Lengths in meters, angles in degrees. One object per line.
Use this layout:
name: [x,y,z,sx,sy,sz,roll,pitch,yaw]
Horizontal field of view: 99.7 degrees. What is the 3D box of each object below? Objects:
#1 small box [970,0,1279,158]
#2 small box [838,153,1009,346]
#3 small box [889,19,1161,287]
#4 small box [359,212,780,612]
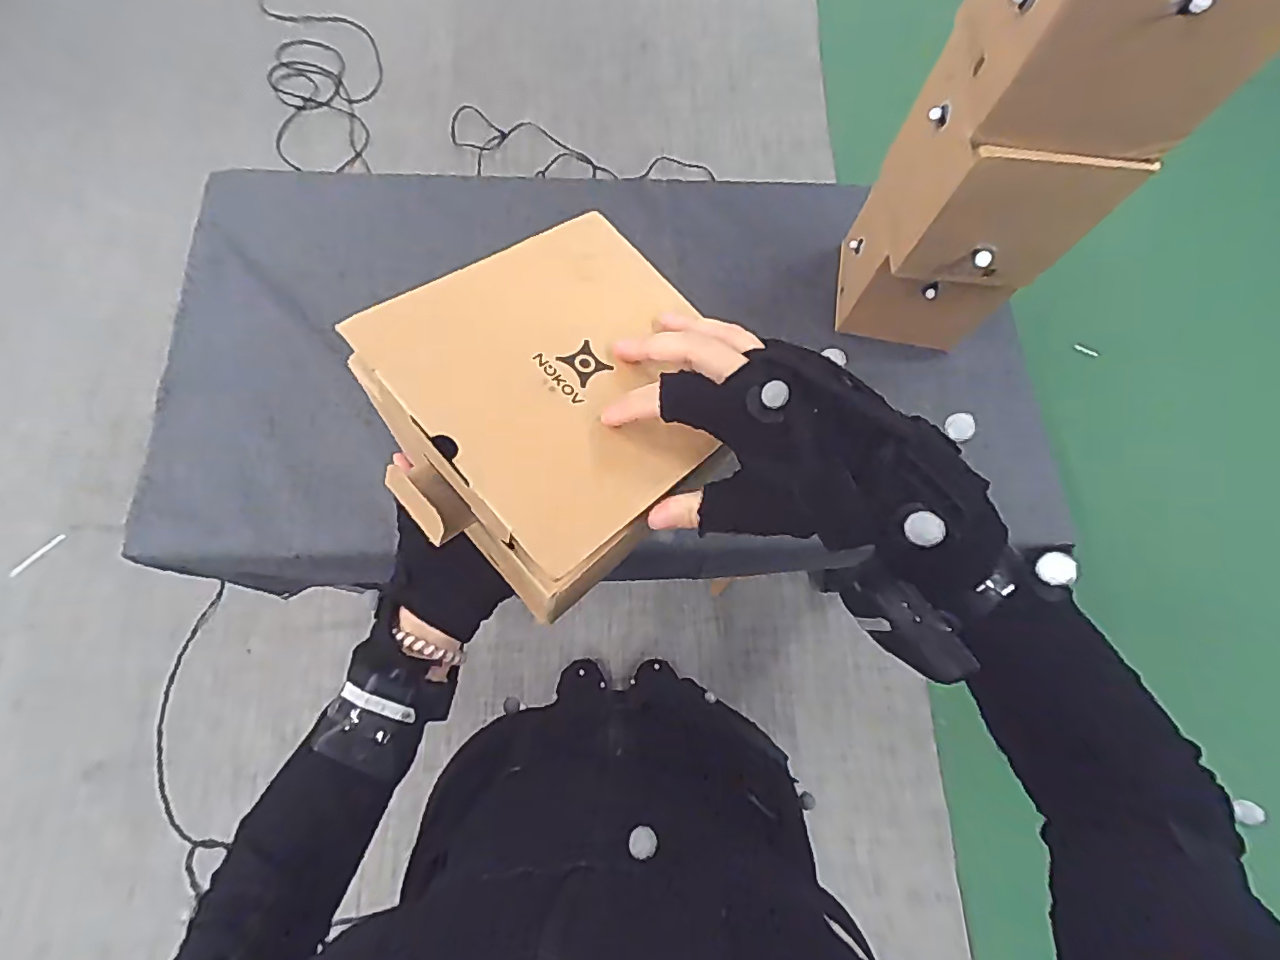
small box: [0.389,-0.390,0.427,0.179,0.176,0.168,7,73,0]
small box: [0.390,-0.306,0.743,0.179,0.176,0.168,11,73,1]
small box: [0.387,-0.339,0.582,0.168,0.176,0.179,5,73,0]
small box: [-0.046,-0.031,0.371,0.179,0.176,0.168,-40,82,-19]
